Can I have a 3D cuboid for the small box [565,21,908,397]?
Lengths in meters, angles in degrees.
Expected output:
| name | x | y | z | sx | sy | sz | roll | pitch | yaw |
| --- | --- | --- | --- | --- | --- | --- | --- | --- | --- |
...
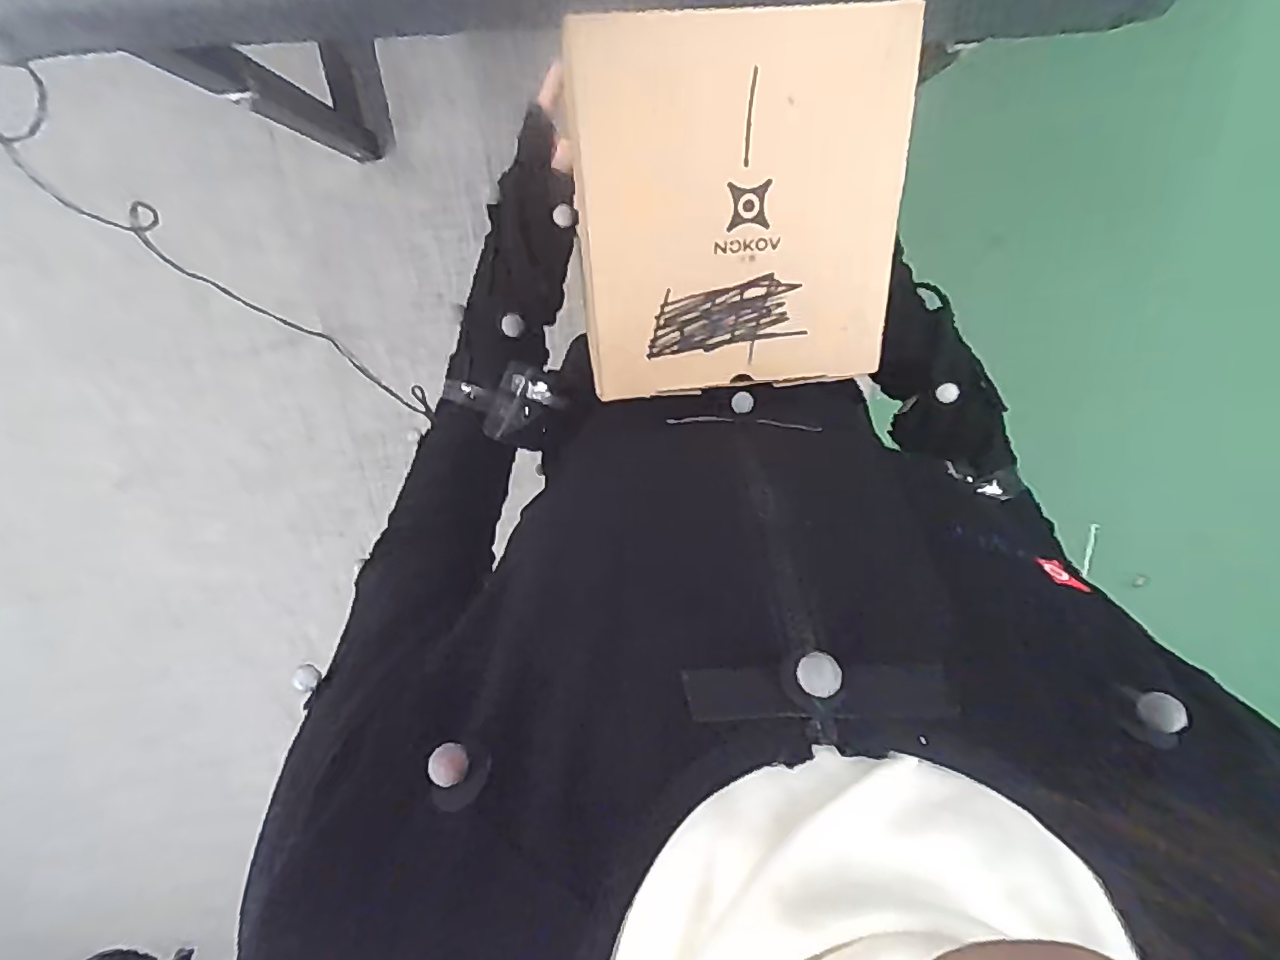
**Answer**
| name | x | y | z | sx | sy | sz | roll | pitch | yaw |
| --- | --- | --- | --- | --- | --- | --- | --- | --- | --- |
| small box | 0.042 | -0.169 | 0.359 | 0.168 | 0.176 | 0.179 | -7 | 116 | -6 |
